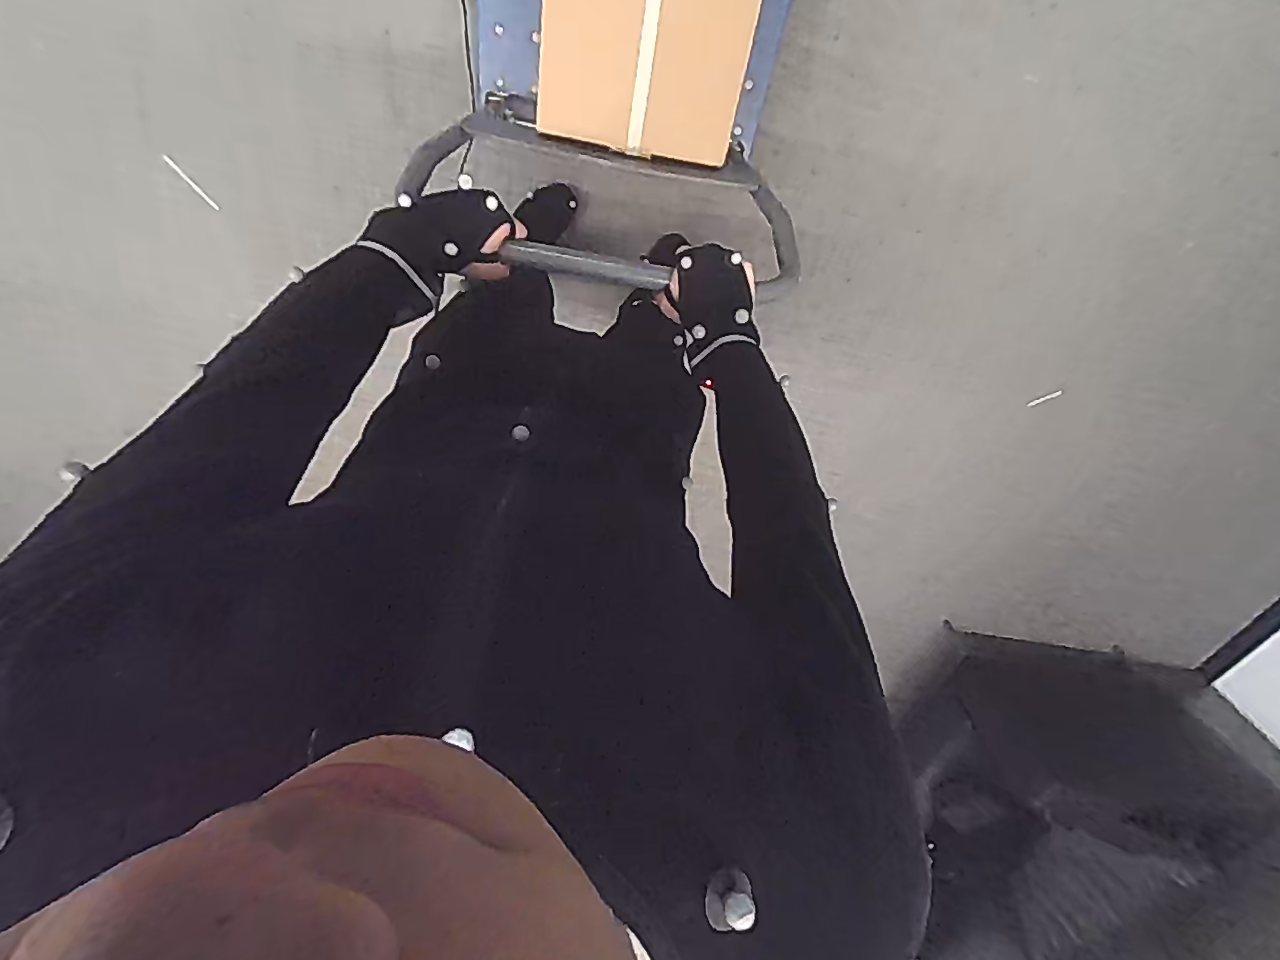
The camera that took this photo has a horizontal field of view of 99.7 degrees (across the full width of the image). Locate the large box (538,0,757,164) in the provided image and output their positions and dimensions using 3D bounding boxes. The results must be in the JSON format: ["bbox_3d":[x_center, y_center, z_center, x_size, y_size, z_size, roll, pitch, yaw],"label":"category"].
[{"bbox_3d":[0.015,-0.790,0.896,0.320,0.320,0.408,7,126,-7],"label":"large box"}]
